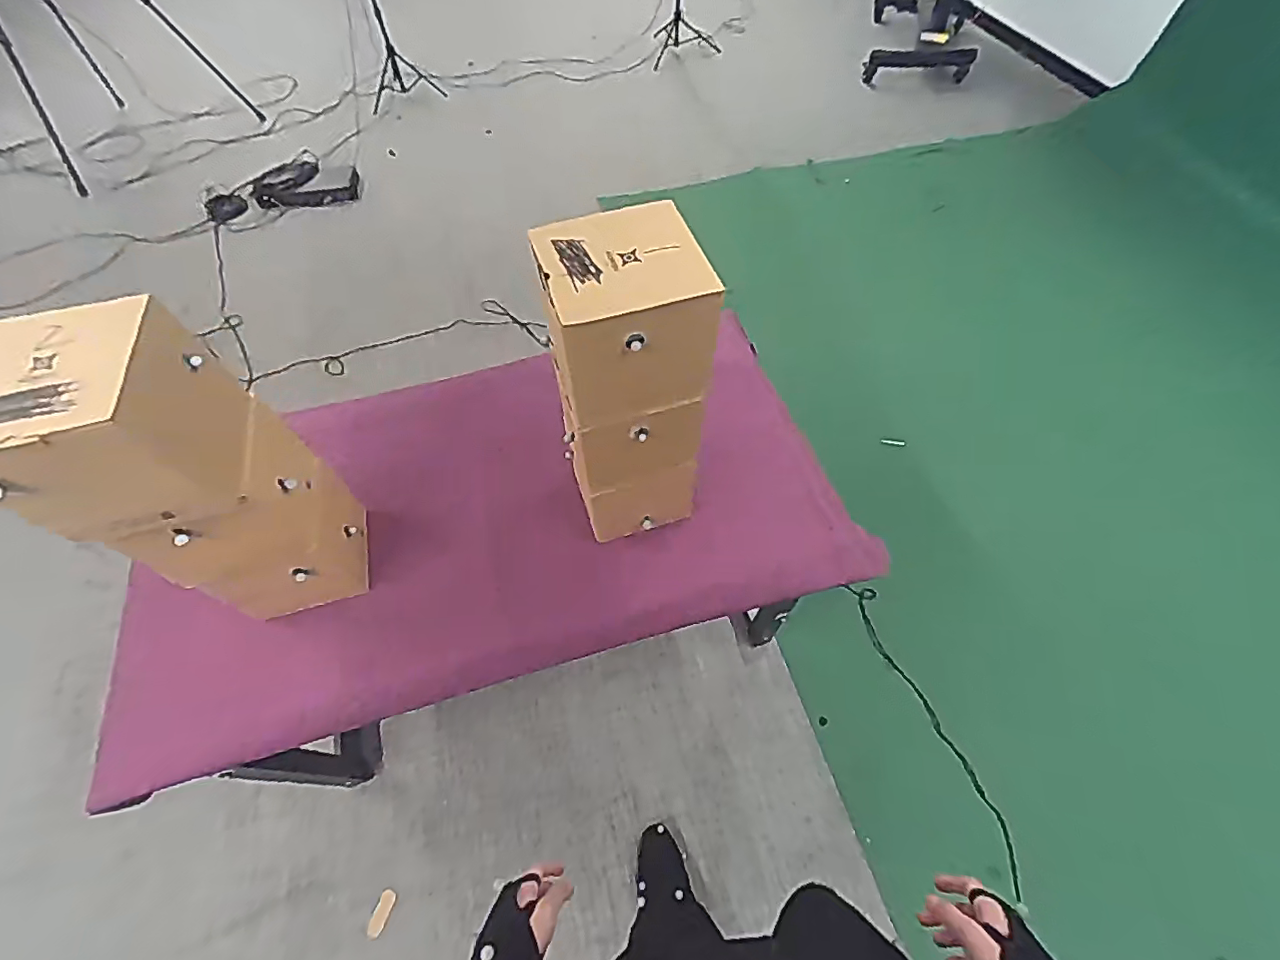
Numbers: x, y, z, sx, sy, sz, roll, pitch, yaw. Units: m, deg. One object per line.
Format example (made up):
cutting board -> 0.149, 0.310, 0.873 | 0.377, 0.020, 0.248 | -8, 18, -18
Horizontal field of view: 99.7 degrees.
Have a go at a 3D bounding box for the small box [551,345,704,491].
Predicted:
small box -> -0.018, -0.104, 0.792 | 0.179, 0.176, 0.168 | -15, 60, -7

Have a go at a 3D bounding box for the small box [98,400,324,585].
small box -> -0.555, 0.022, 0.733 | 0.179, 0.176, 0.168 | -15, 60, -7

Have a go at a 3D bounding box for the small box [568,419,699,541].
small box -> -0.014, -0.018, 0.931 | 0.179, 0.176, 0.168 | -16, 59, -8

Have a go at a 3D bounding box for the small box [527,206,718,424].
small box -> -0.020, -0.191, 0.653 | 0.179, 0.176, 0.168 | -16, 61, -8

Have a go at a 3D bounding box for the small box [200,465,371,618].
small box -> -0.552, 0.103, 0.872 | 0.179, 0.176, 0.168 | -15, 59, -8
